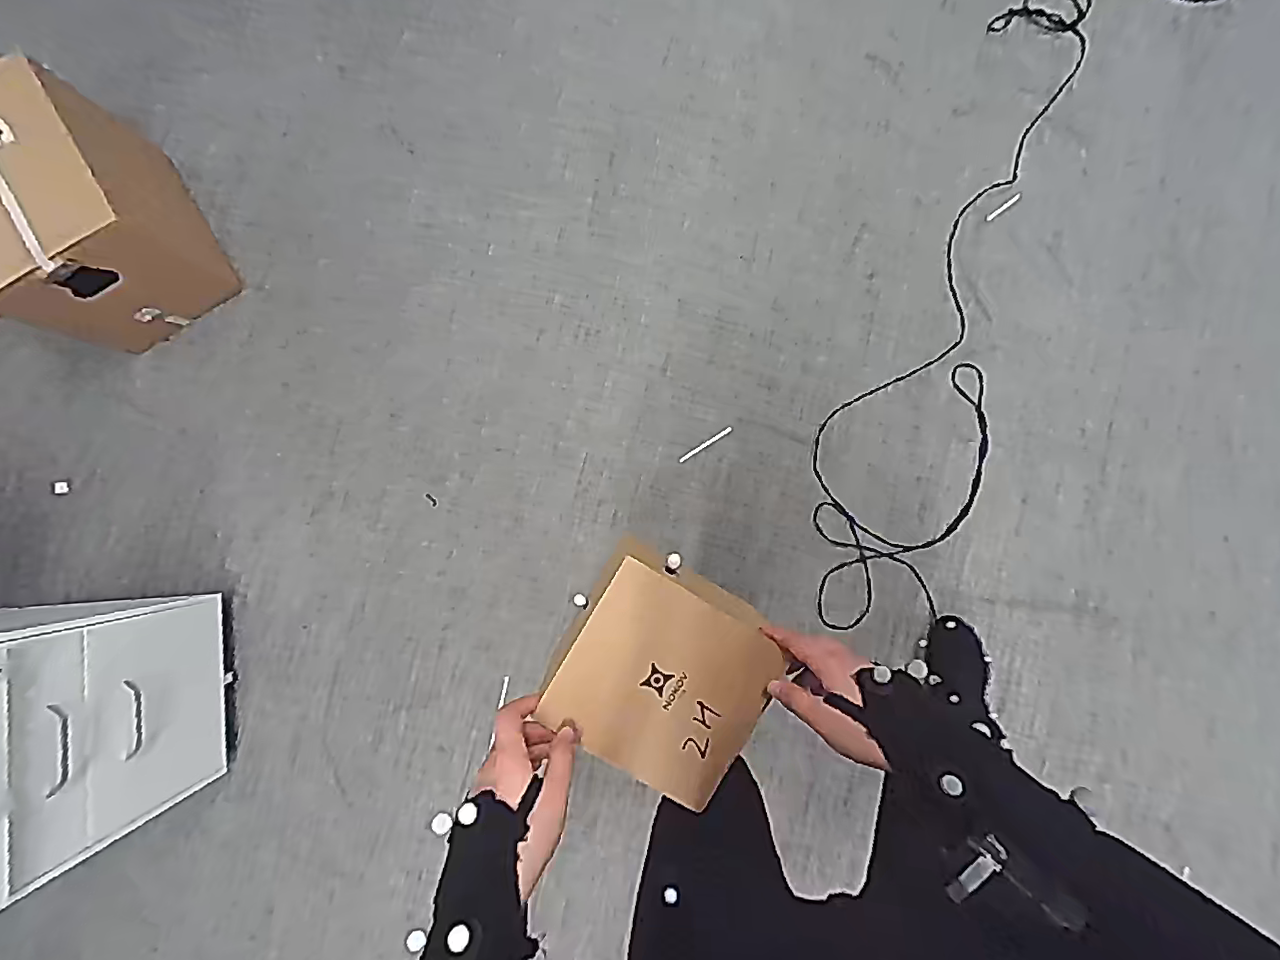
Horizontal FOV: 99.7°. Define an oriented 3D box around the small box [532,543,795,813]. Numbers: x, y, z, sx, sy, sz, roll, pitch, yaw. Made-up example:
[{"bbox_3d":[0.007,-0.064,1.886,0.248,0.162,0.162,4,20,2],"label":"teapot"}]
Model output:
[{"bbox_3d":[0.019,0.177,0.546,0.179,0.176,0.168,31,91,-2],"label":"small box"}]
